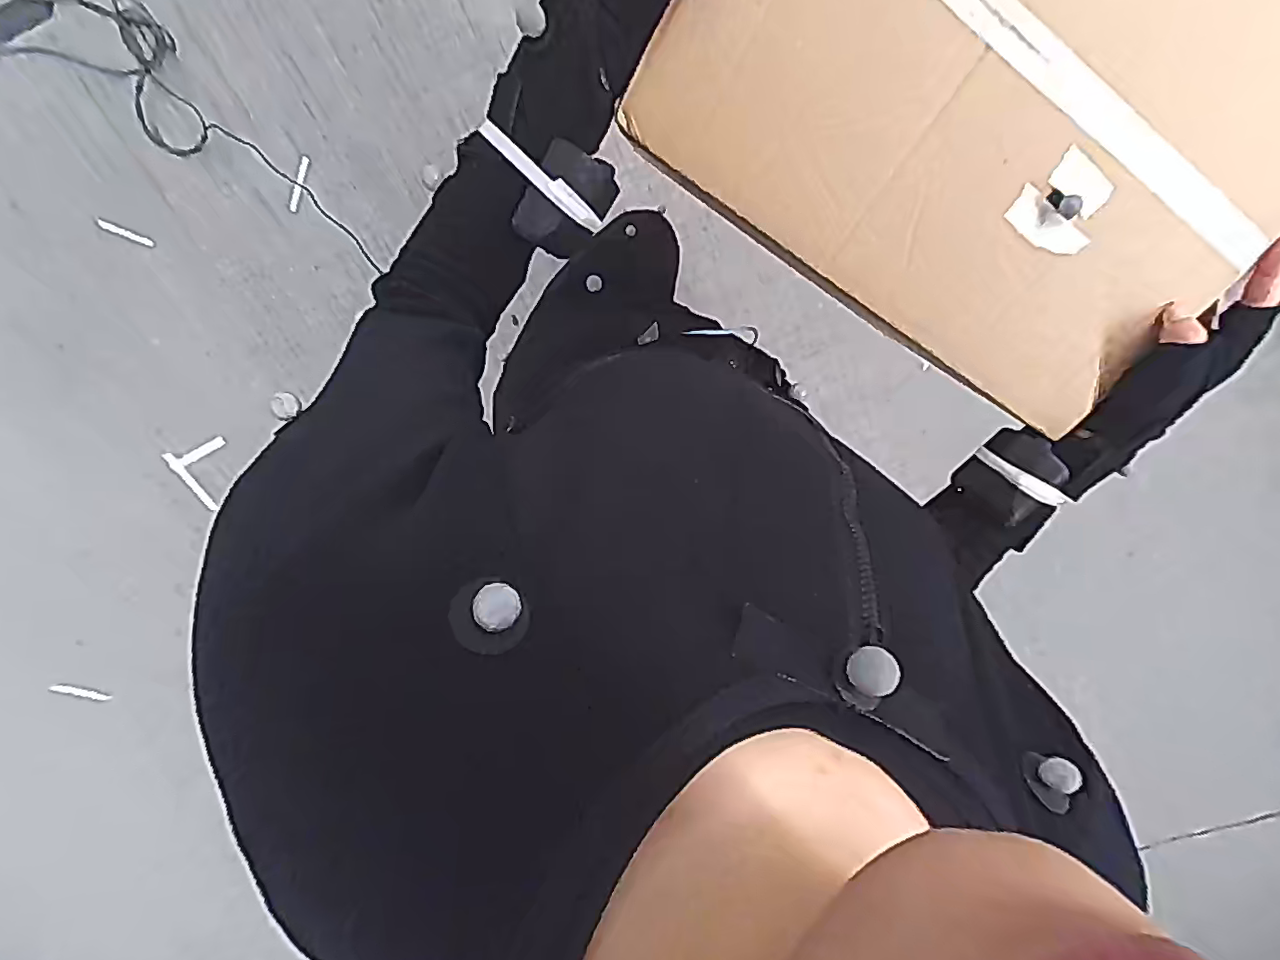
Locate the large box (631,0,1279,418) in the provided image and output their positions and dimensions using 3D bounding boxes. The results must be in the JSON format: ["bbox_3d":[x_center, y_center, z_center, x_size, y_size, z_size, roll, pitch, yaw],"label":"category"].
[{"bbox_3d":[0.239,-0.323,0.459,0.408,0.320,0.320,29,117,-14],"label":"large box"}]
